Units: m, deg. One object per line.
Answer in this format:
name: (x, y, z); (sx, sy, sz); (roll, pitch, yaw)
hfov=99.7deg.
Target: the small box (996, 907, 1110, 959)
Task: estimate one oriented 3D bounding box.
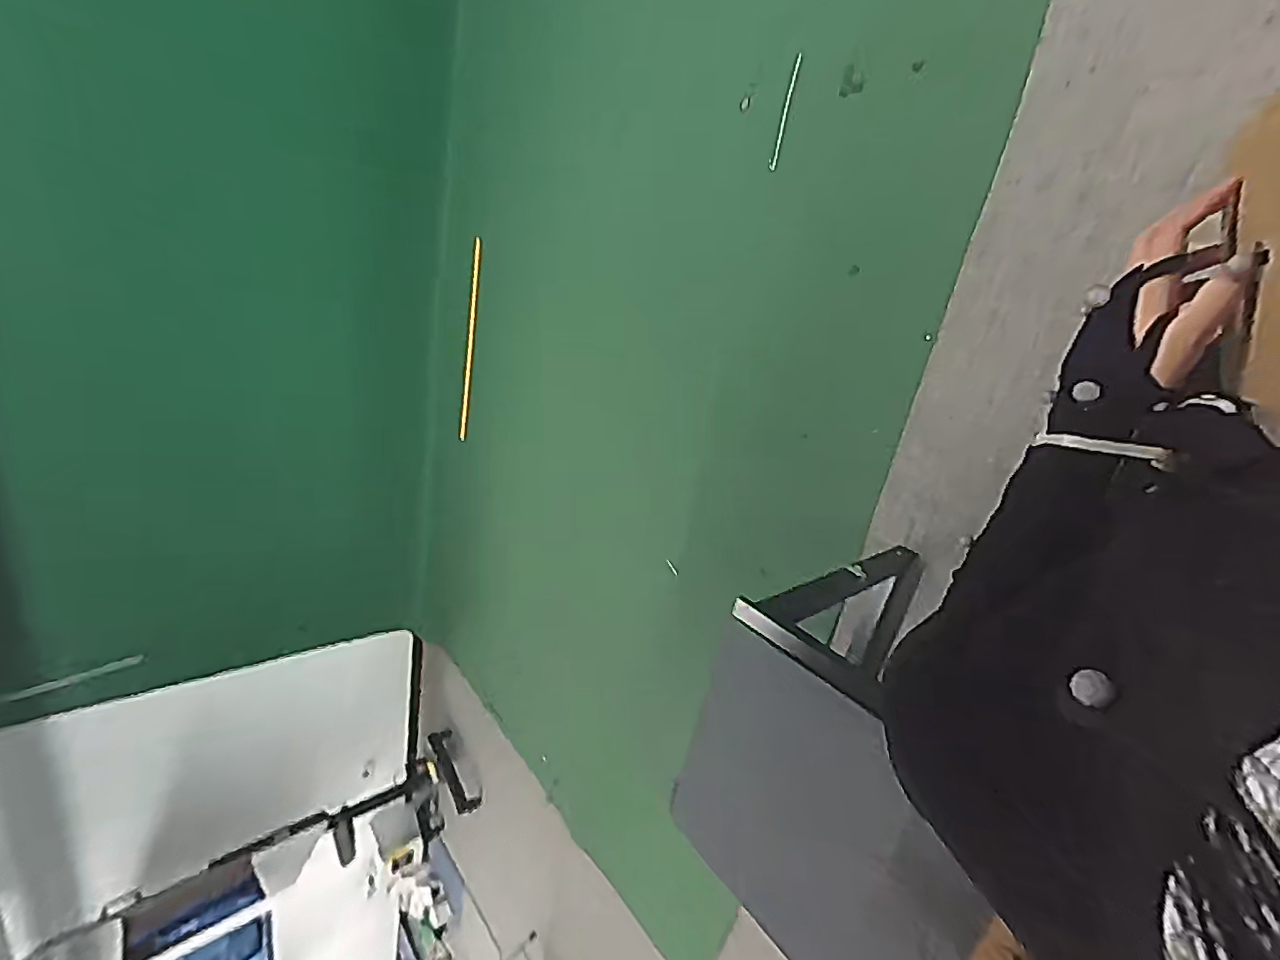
small box: (0.485, 0.658, 0.616); (0.168, 0.176, 0.179); (25, 113, 43)
